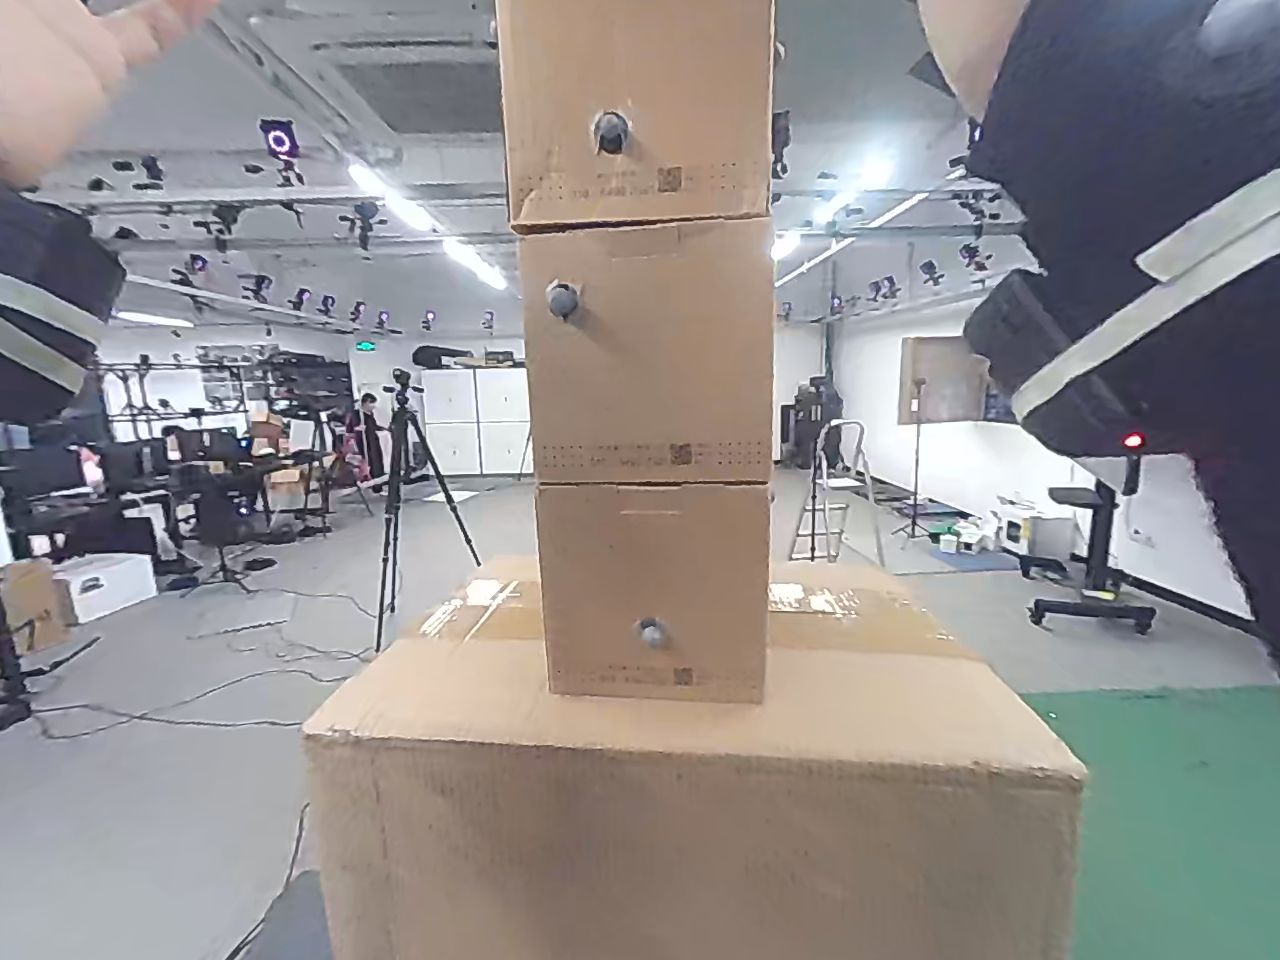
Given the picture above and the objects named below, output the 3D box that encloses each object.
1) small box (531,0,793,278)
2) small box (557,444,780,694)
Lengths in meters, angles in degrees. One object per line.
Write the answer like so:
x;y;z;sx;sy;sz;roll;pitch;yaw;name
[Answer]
0.016;-0.256;0.420;0.168;0.176;0.179;0;12;4;small box
0.028;0.064;0.485;0.168;0.176;0.179;0;13;7;small box
